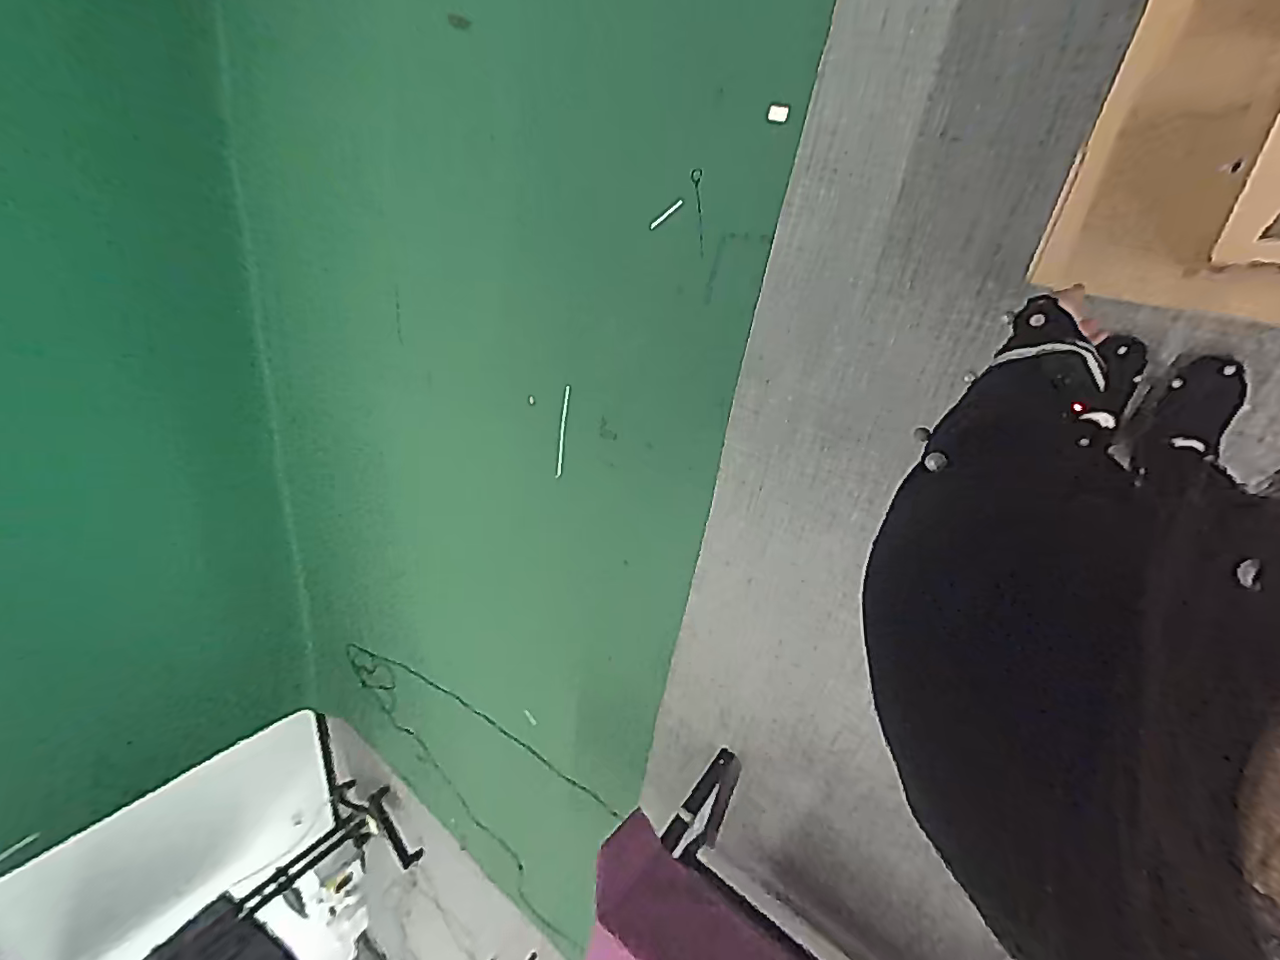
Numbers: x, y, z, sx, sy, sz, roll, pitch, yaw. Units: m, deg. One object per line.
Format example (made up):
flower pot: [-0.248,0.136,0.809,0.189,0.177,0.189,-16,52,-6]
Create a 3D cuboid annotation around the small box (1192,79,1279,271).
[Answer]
small box: [0.695,-0.299,0.532,0.168,0.176,0.179,20,117,31]
